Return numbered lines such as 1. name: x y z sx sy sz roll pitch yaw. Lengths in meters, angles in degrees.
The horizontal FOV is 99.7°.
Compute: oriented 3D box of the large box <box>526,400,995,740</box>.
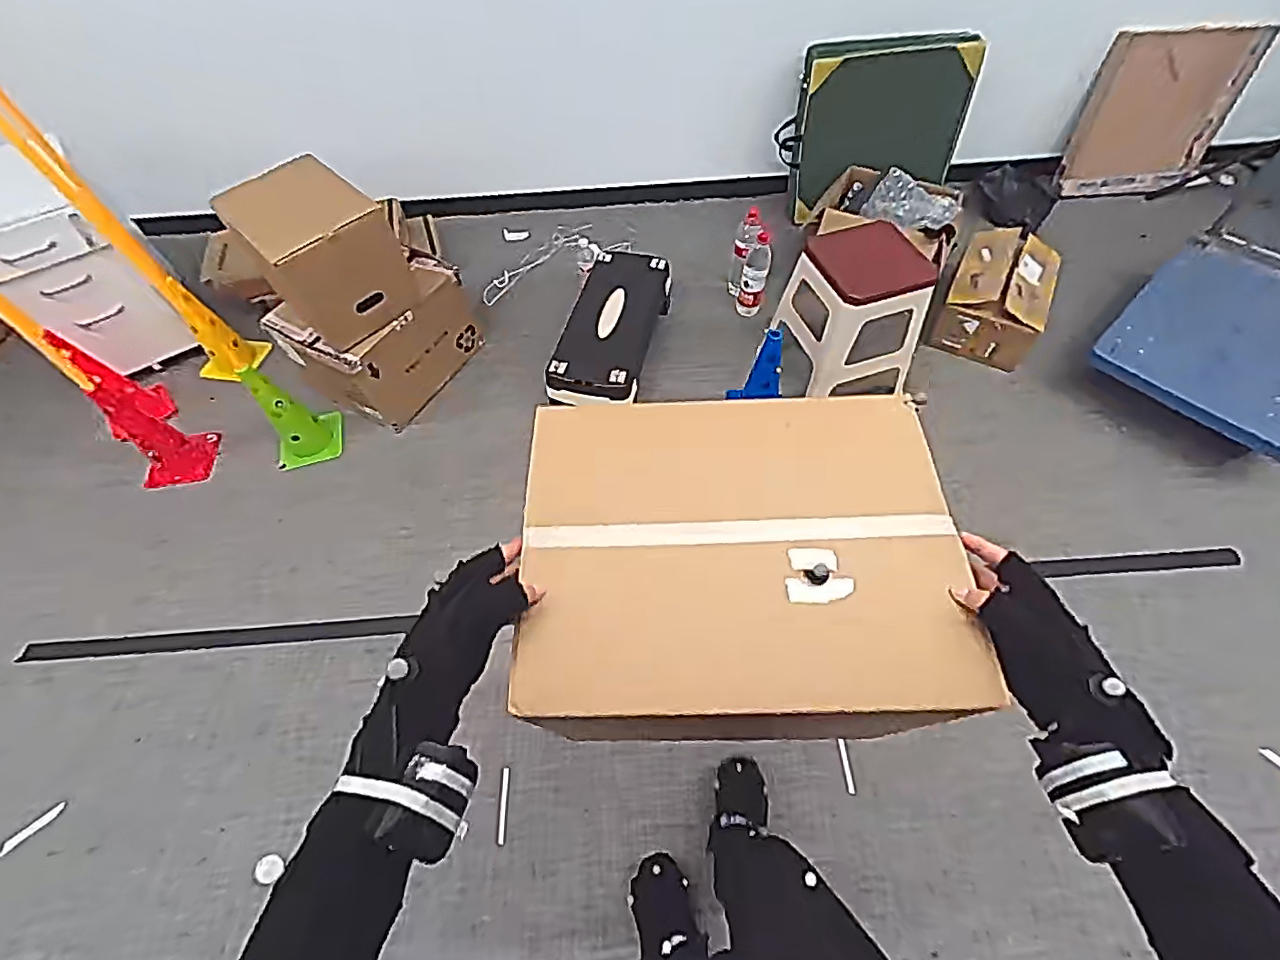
1. large box: 0.099 0.126 0.652 0.408 0.320 0.320 -2 61 1
